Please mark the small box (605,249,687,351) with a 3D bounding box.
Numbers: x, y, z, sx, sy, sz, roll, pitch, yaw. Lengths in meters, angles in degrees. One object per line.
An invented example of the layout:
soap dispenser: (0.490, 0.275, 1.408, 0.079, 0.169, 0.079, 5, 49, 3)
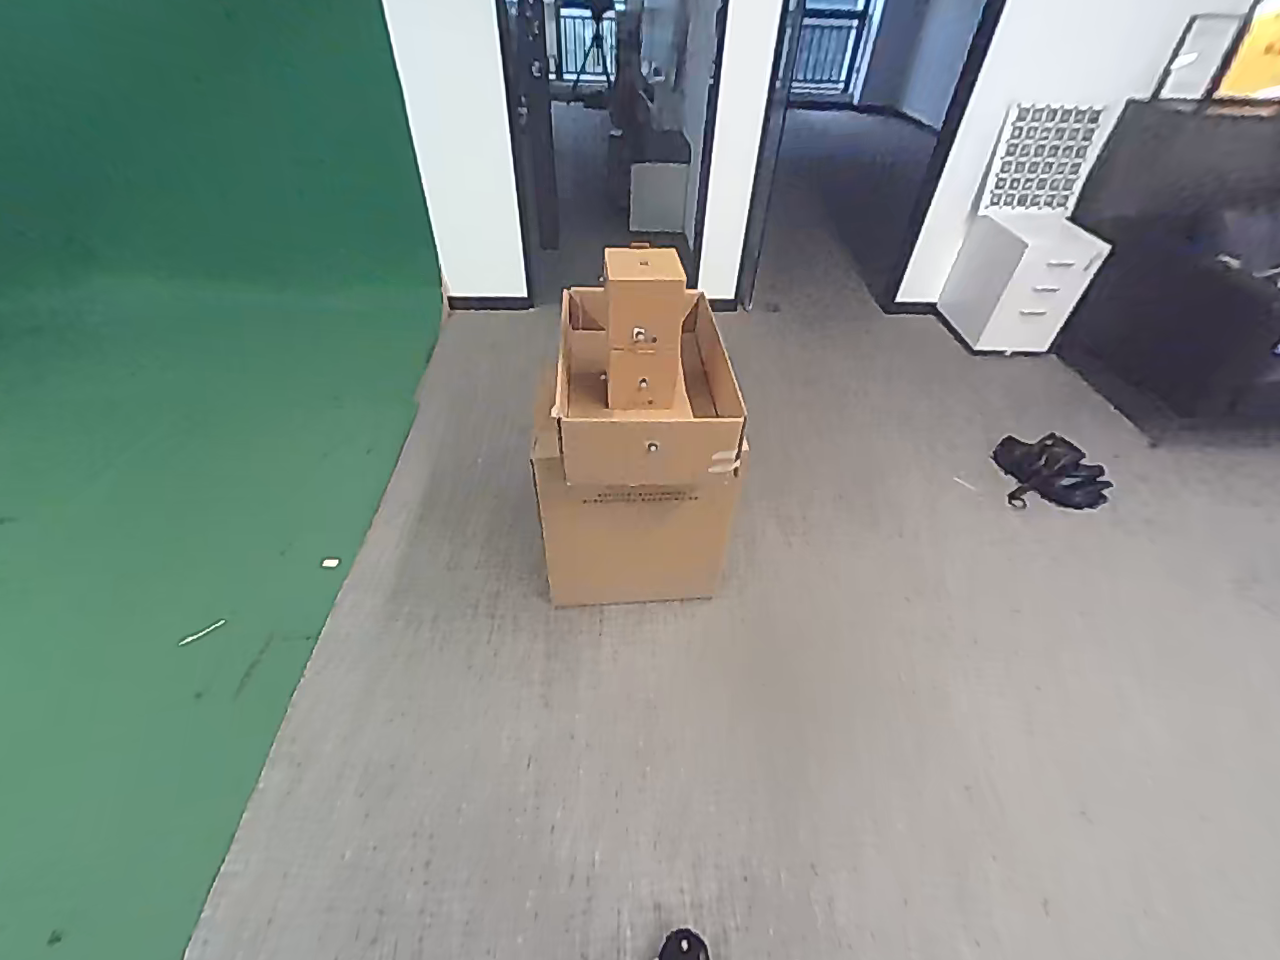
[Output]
small box: (0.006, -0.412, 1.239, 0.168, 0.176, 0.179, -3, 44, -6)
